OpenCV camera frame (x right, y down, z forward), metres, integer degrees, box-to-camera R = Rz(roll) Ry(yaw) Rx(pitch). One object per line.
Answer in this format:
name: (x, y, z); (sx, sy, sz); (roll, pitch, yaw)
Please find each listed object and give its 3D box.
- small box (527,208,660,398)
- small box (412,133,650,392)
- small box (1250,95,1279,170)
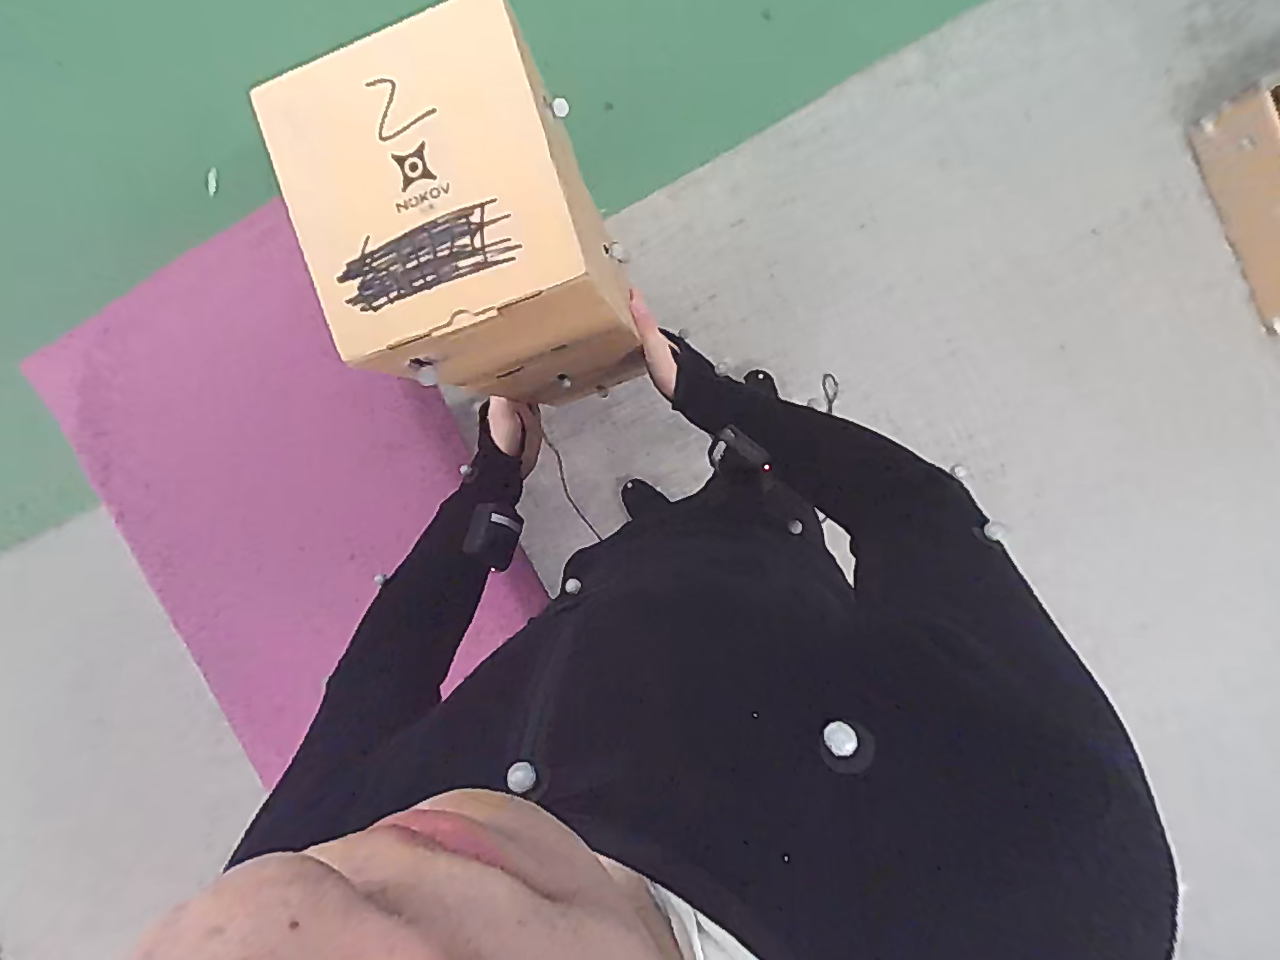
small box: (-0.078, -0.218, 0.718); (0.168, 0.176, 0.179); (-18, 94, 8)
small box: (-0.095, -0.201, 0.557); (0.168, 0.176, 0.179); (-19, 94, 7)
small box: (1.643, -0.883, 1.286); (0.179, 0.176, 0.168); (-23, 94, 6)
